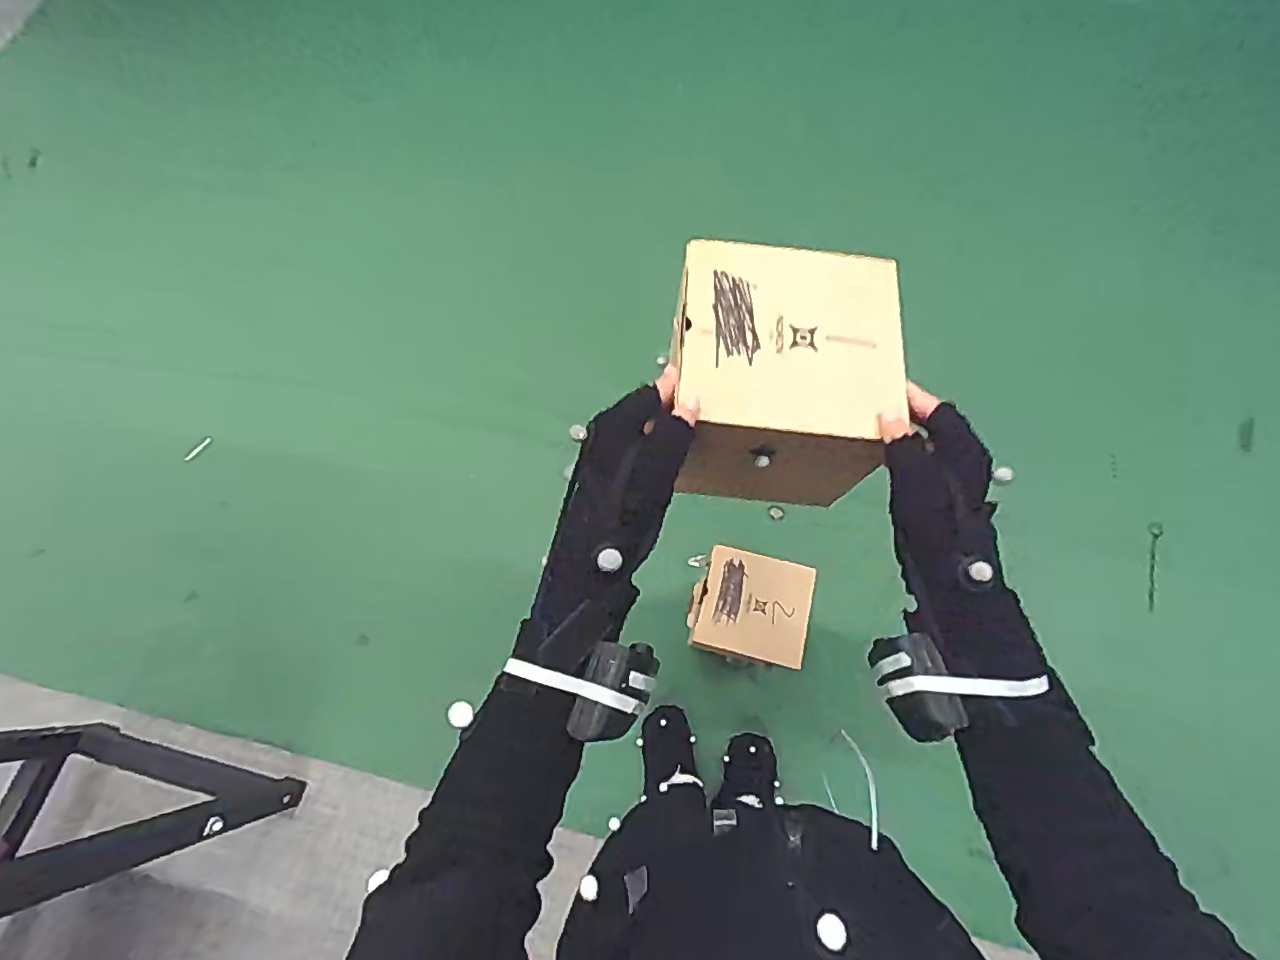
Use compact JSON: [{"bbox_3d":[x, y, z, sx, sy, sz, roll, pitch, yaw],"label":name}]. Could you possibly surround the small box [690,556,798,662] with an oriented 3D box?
[{"bbox_3d":[0.207,0.267,1.112,0.179,0.176,0.168,13,73,7],"label":"small box"}]
